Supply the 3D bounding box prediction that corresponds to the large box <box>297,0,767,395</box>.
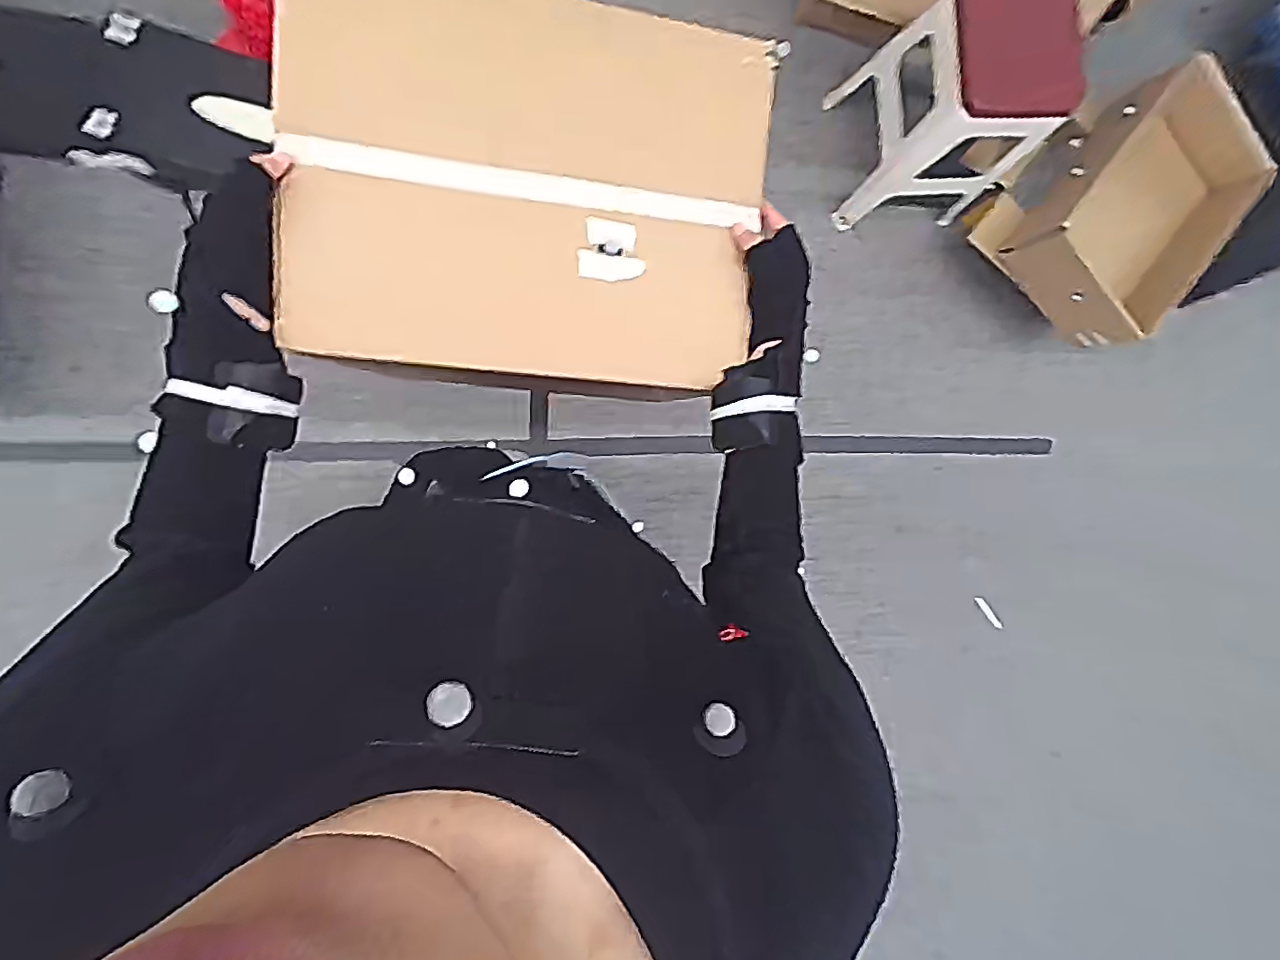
[{"bbox_3d":[-0.116,-0.272,0.624,0.408,0.320,0.320,4,97,-12],"label":"large box"}]
